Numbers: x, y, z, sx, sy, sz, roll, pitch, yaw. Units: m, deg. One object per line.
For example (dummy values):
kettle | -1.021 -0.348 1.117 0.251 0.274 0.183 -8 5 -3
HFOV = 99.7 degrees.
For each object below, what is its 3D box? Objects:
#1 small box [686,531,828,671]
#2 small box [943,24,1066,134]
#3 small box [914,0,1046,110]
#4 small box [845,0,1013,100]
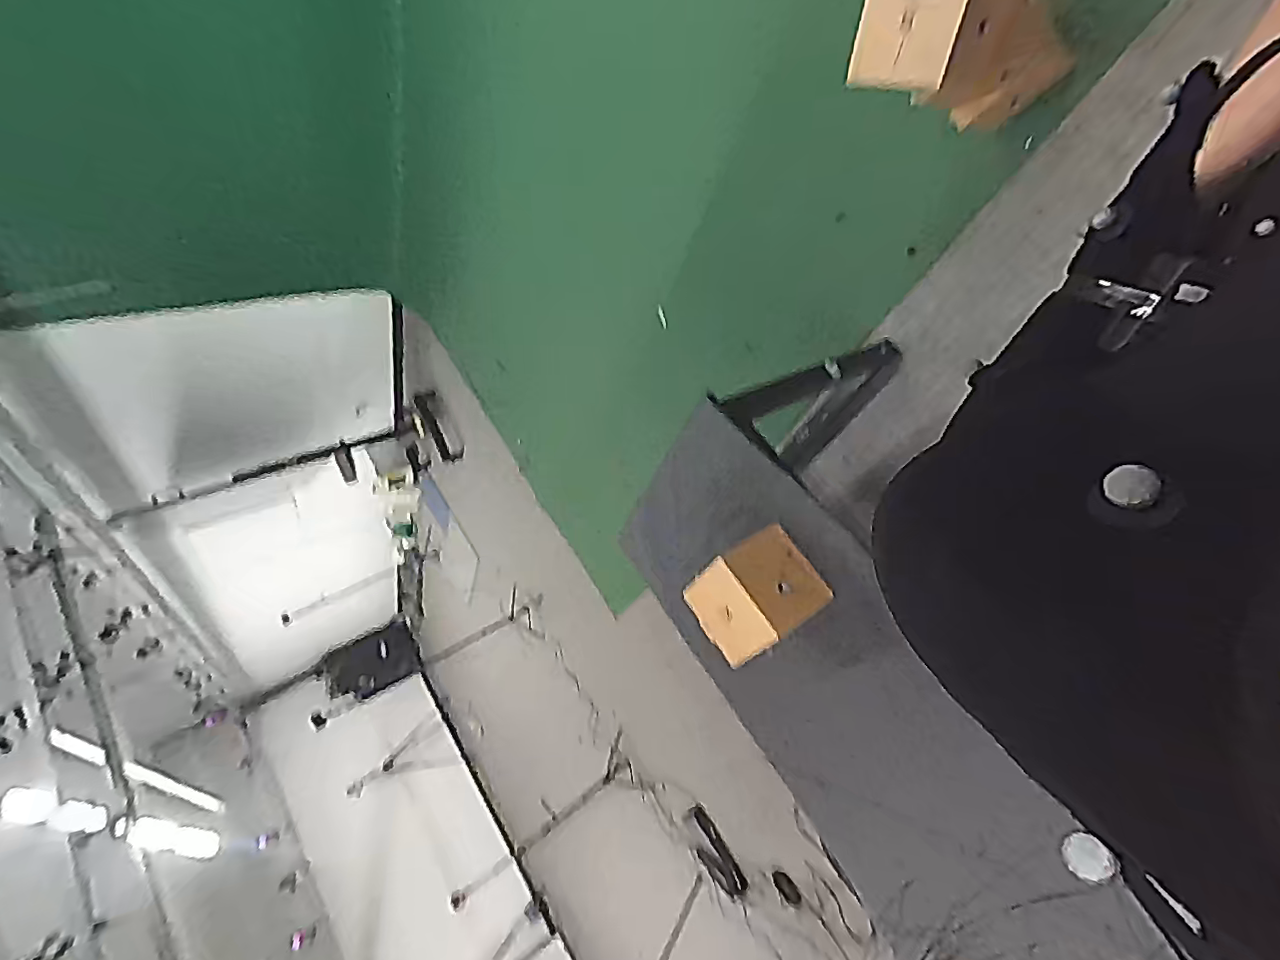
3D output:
small box | 0.223 0.223 1.018 0.168 0.176 0.179 53 144 18
small box | 0.698 -0.824 1.073 0.168 0.176 0.179 -33 82 53
small box | 0.592 -0.784 0.953 0.168 0.176 0.179 0 108 51
small box | 0.466 -0.726 0.864 0.168 0.176 0.179 35 135 35
